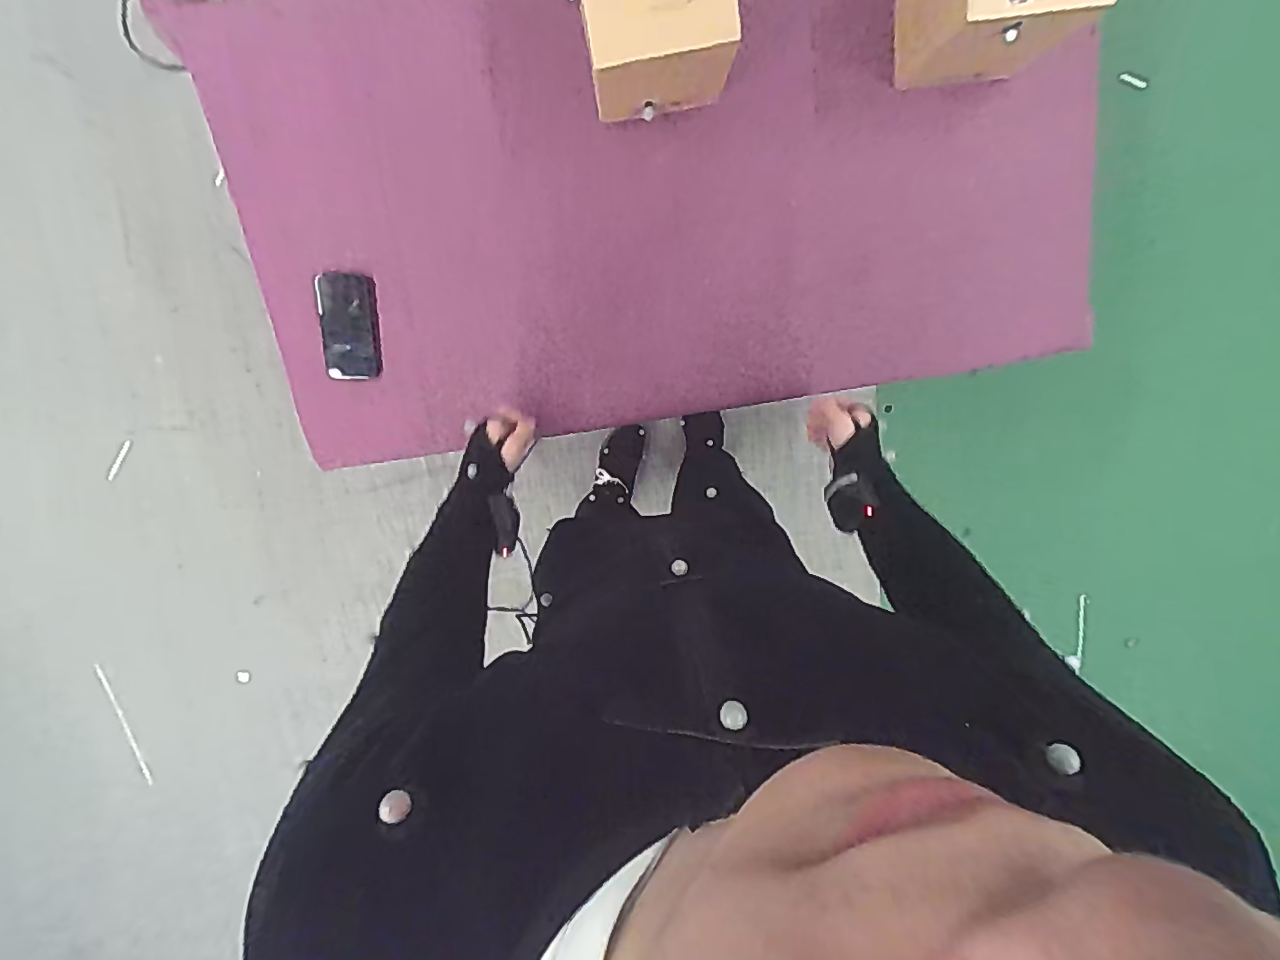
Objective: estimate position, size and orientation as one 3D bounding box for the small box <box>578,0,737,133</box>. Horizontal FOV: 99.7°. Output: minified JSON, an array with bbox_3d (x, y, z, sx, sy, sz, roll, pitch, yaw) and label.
[{"bbox_3d":[0.012,-0.556,0.650,0.168,0.176,0.179,-9,104,1],"label":"small box"}]

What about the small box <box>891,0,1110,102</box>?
[{"bbox_3d":[0.421,-0.598,0.652,0.168,0.176,0.179,-6,103,1],"label":"small box"}]
